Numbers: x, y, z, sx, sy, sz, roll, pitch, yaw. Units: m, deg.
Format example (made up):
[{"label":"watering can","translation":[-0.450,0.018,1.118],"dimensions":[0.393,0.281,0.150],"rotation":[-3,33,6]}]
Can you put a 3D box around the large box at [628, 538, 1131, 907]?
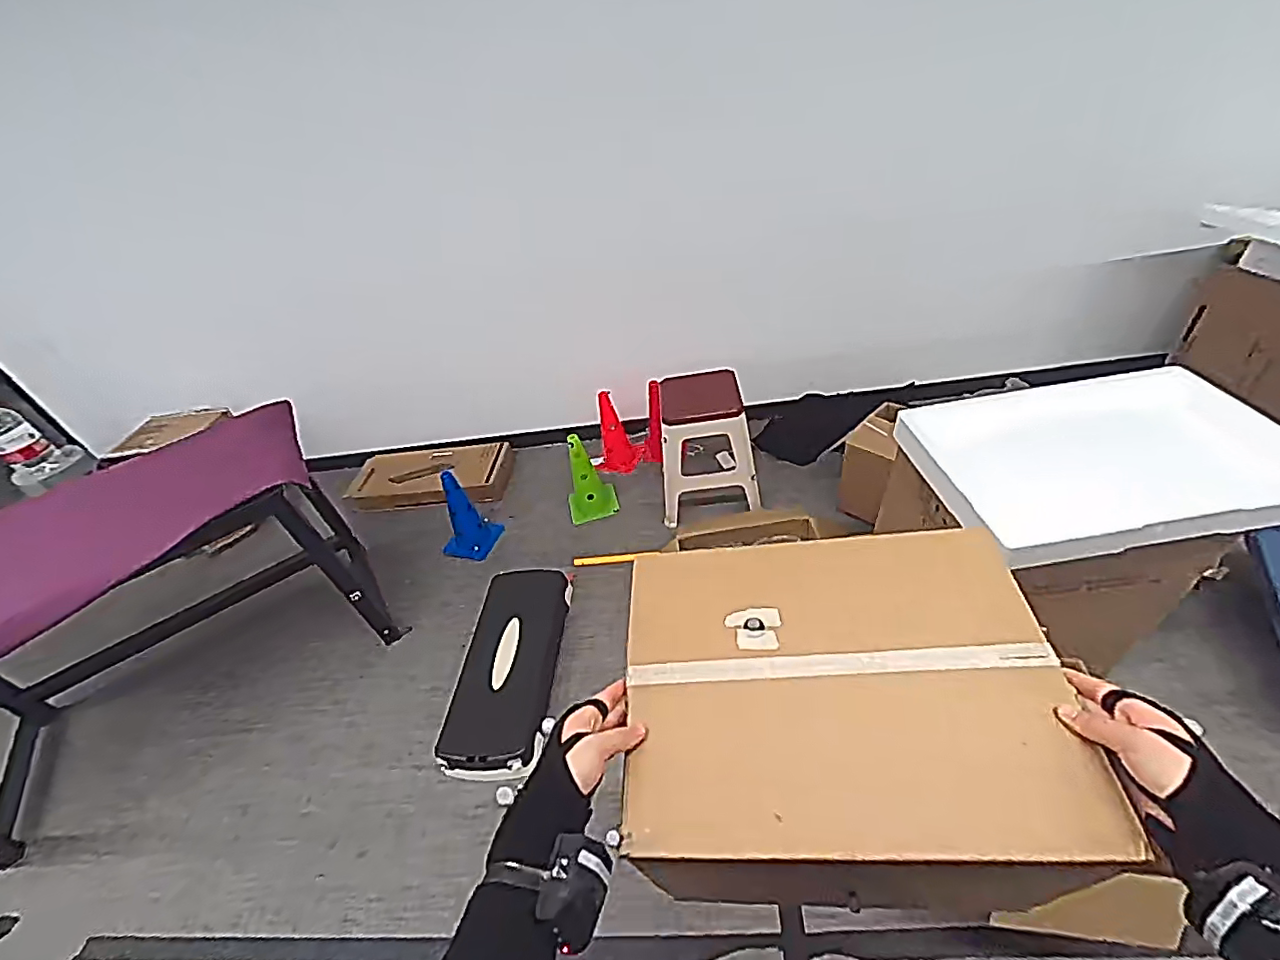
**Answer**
[{"label":"large box","translation":[0.217,0.301,0.648],"dimensions":[0.408,0.320,0.320],"rotation":[-7,44,9]}]
